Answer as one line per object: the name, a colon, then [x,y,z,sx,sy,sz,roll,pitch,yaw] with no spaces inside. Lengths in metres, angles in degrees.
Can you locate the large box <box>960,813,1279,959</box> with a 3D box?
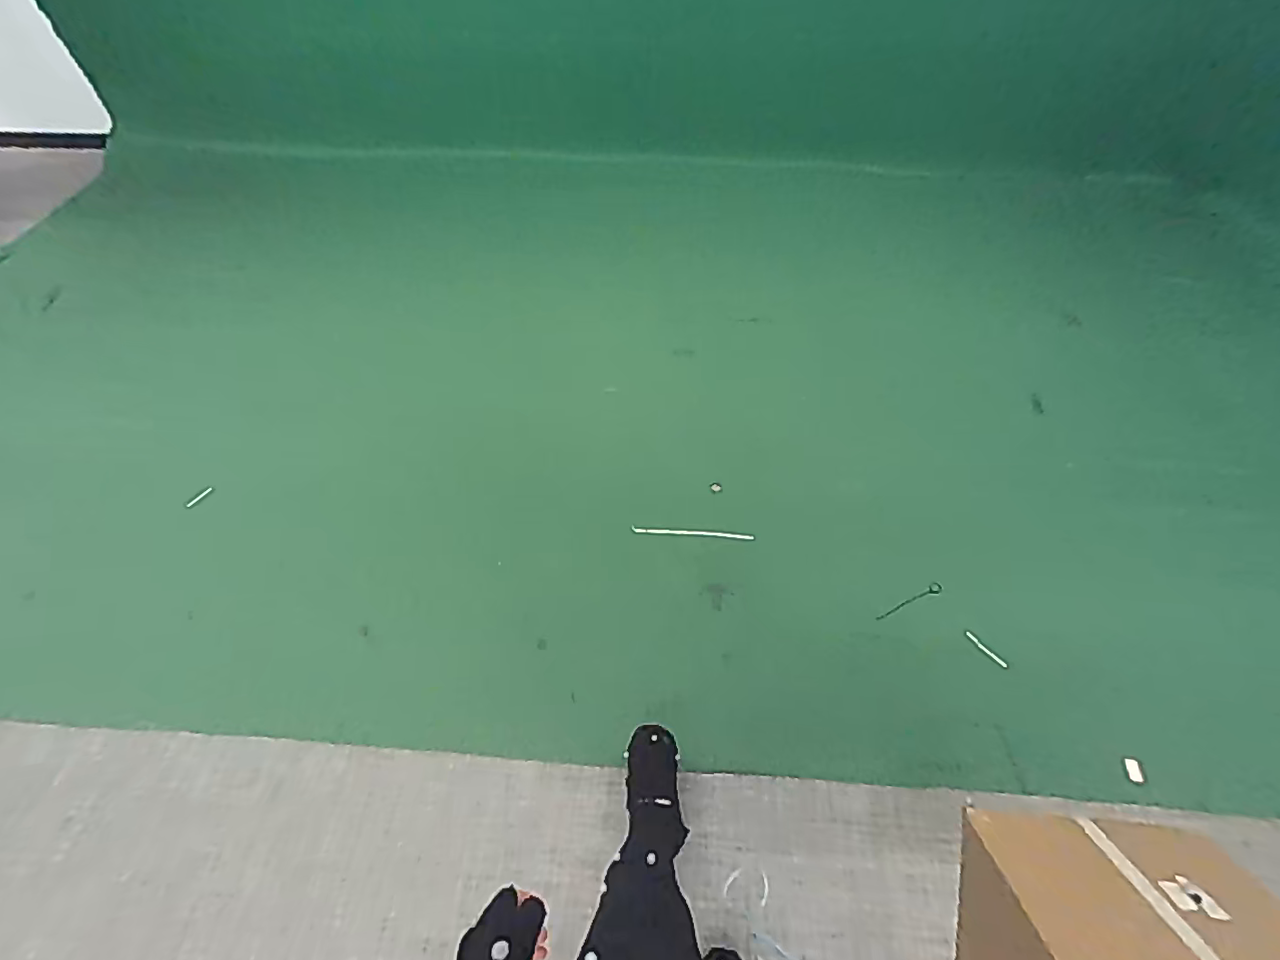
large box: [0.607,0.669,0.612,0.320,0.408,0.320,1,94,10]
